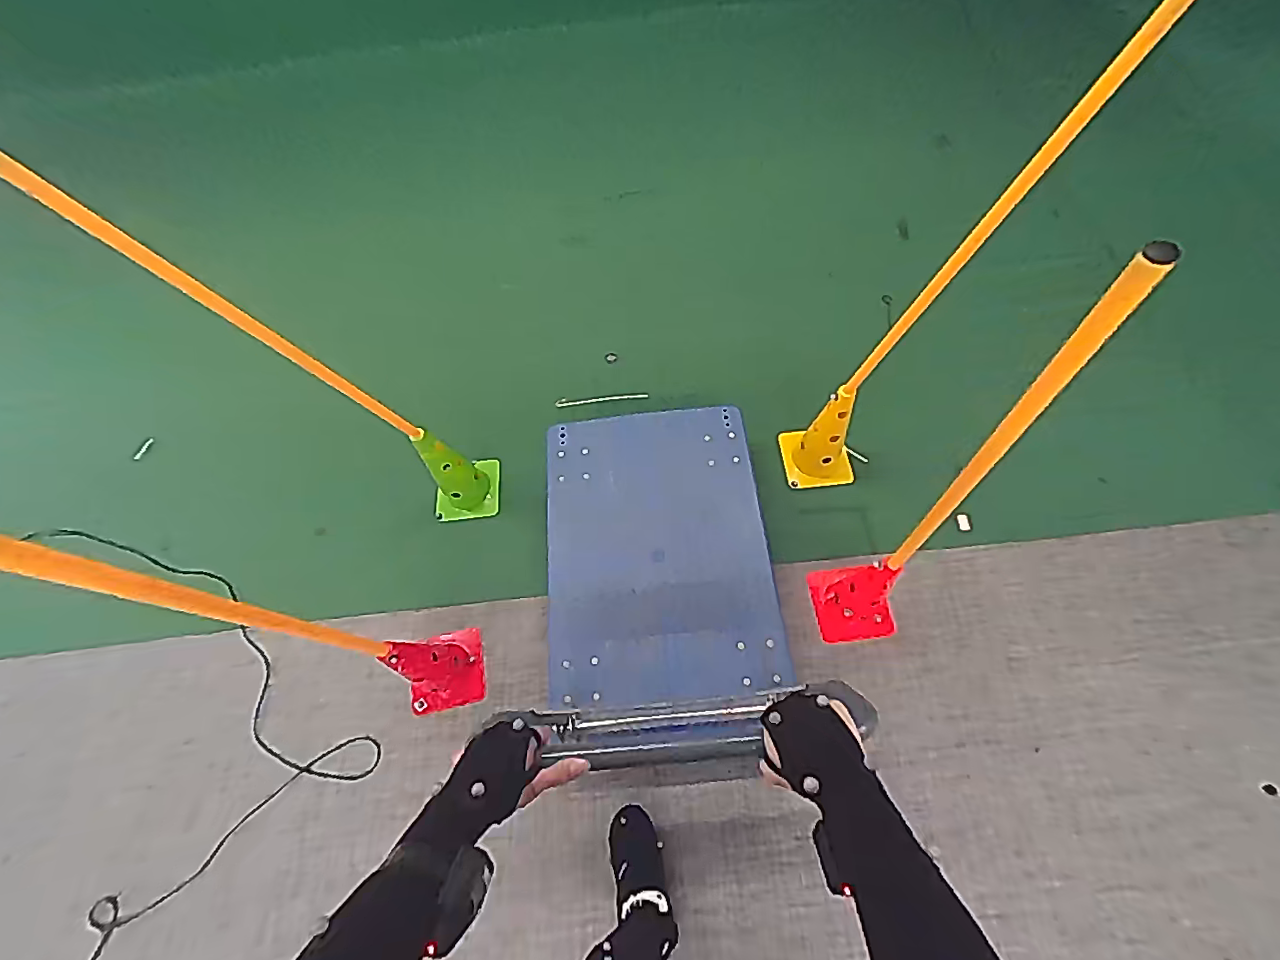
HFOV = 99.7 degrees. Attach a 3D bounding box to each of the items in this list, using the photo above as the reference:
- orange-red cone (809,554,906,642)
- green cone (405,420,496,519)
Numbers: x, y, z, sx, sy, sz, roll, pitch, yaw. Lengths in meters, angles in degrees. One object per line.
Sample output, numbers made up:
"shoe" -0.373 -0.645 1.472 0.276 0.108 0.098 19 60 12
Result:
"orange-red cone" 0.559 0.254 1.310 0.198 0.360 0.199 -6 62 1
"green cone" -0.566 -0.054 1.547 0.200 0.368 0.202 -7 62 2
